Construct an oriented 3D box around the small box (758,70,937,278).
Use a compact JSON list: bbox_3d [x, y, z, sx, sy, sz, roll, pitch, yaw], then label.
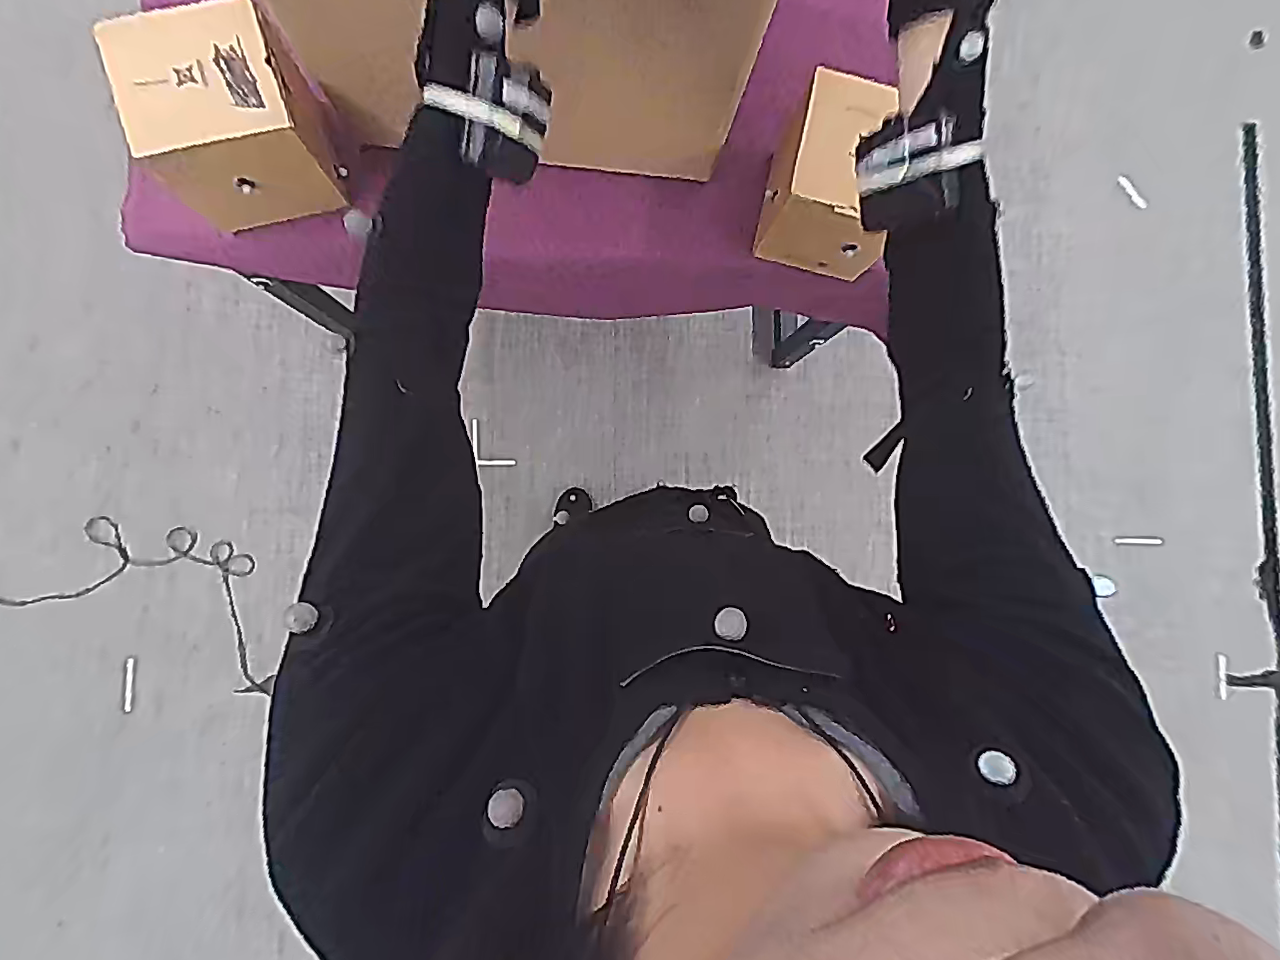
[{"bbox_3d":[0.277,-0.413,0.761,0.168,0.176,0.179,12,85,-5],"label":"small box"}]
